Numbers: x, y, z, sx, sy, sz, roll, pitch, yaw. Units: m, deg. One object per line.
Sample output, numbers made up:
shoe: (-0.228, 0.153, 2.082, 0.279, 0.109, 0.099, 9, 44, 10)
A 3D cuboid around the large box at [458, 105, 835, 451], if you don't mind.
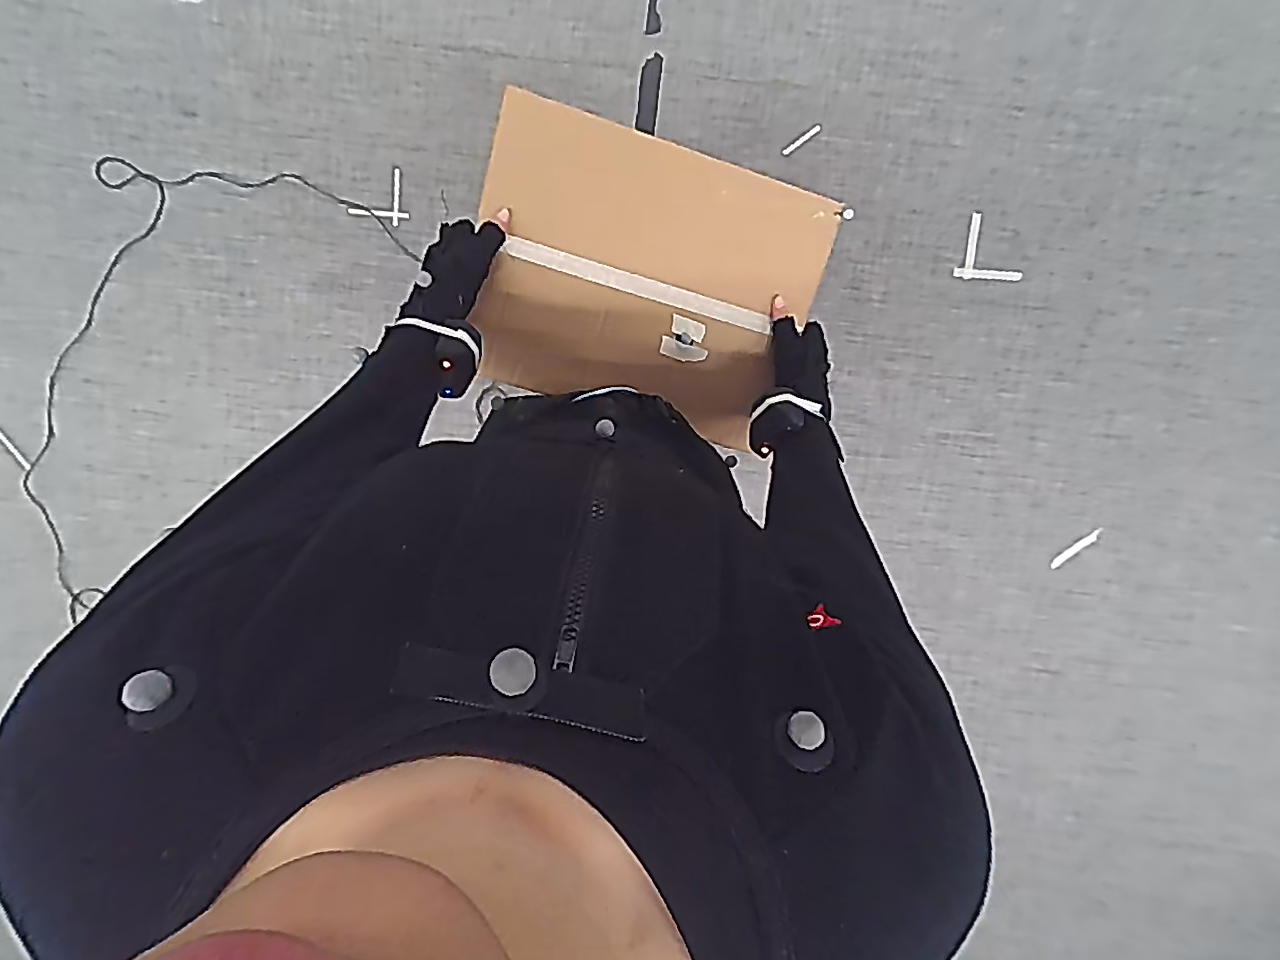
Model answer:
large box: (-0.006, -0.262, 0.799, 0.408, 0.320, 0.320, 15, 103, -7)
